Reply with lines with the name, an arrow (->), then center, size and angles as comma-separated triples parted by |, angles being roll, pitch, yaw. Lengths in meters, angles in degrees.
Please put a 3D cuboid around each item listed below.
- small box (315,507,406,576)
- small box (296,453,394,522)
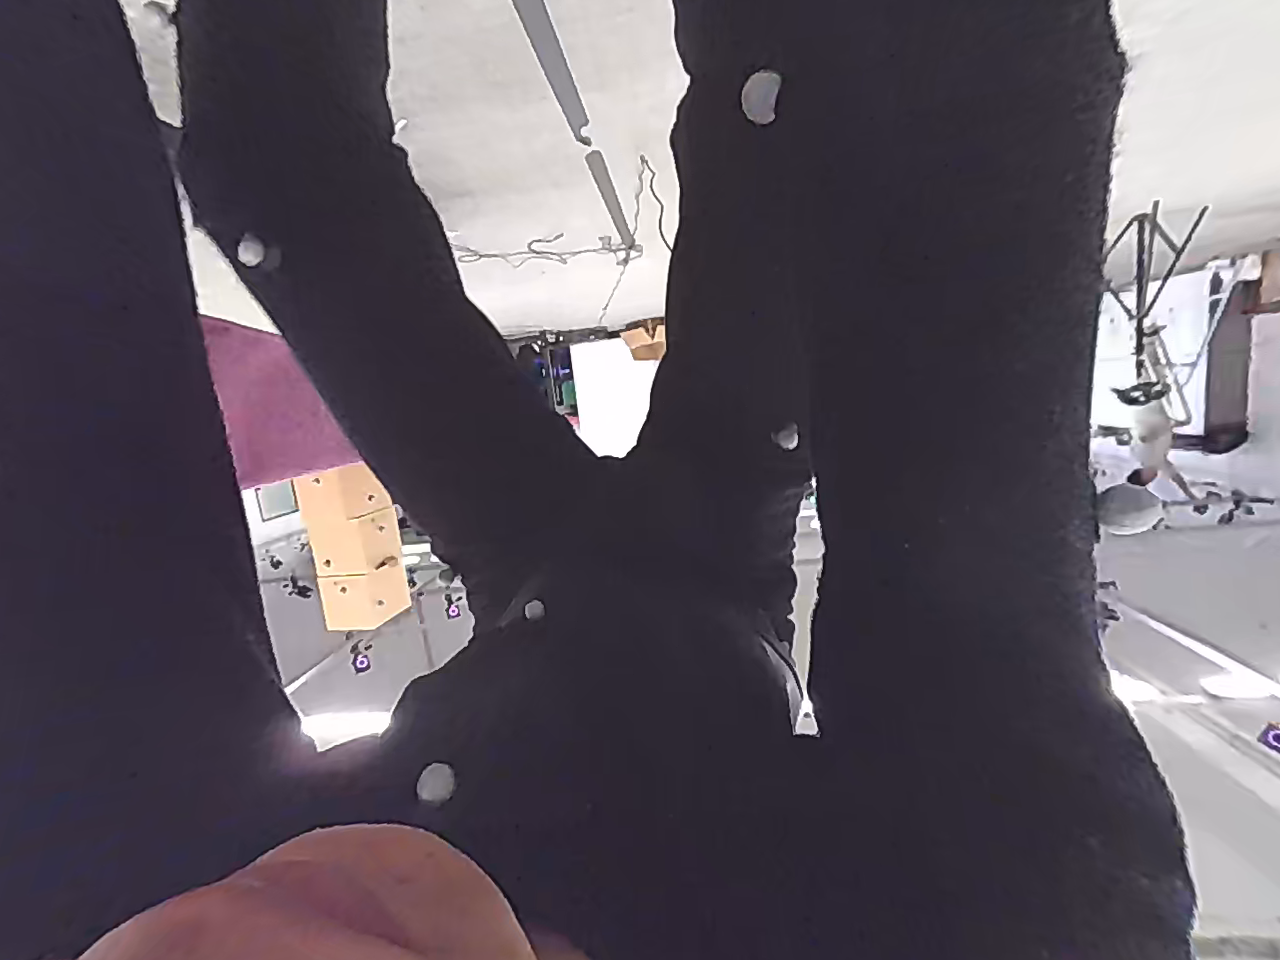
small box -> -0.837, 0.177, 1.617 | 0.179, 0.176, 0.168 | -5, -170, 13
small box -> -0.854, 0.019, 1.569 | 0.168, 0.176, 0.179 | -4, -171, 18
